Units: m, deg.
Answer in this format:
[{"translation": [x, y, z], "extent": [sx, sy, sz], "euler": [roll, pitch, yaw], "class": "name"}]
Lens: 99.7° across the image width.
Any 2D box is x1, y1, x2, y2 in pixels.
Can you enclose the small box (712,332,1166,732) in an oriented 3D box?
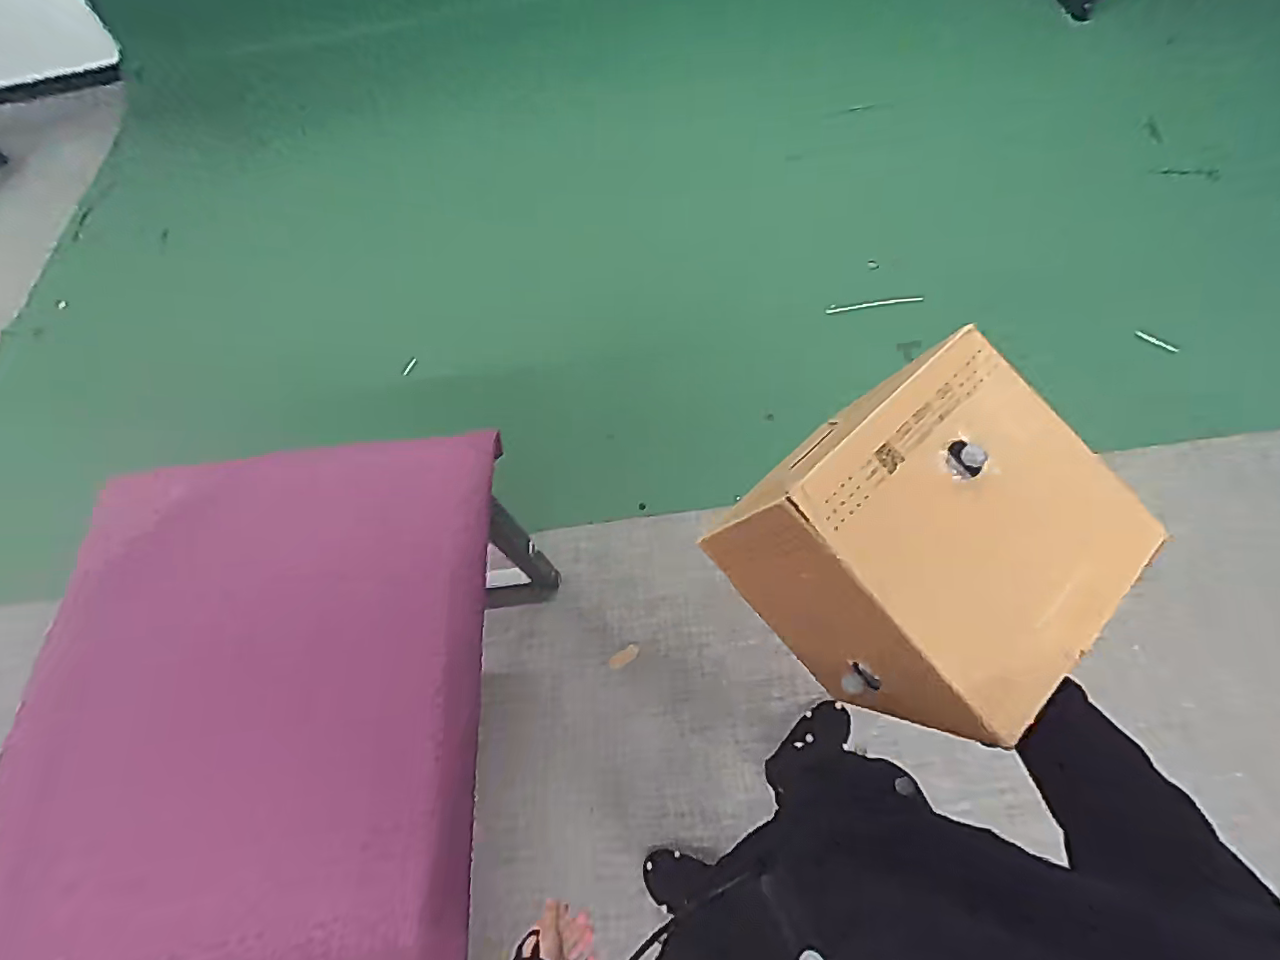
[{"translation": [0.173, 0.033, 0.372], "extent": [0.168, 0.179, 0.176], "euler": [-38, 84, -16], "class": "small box"}]
